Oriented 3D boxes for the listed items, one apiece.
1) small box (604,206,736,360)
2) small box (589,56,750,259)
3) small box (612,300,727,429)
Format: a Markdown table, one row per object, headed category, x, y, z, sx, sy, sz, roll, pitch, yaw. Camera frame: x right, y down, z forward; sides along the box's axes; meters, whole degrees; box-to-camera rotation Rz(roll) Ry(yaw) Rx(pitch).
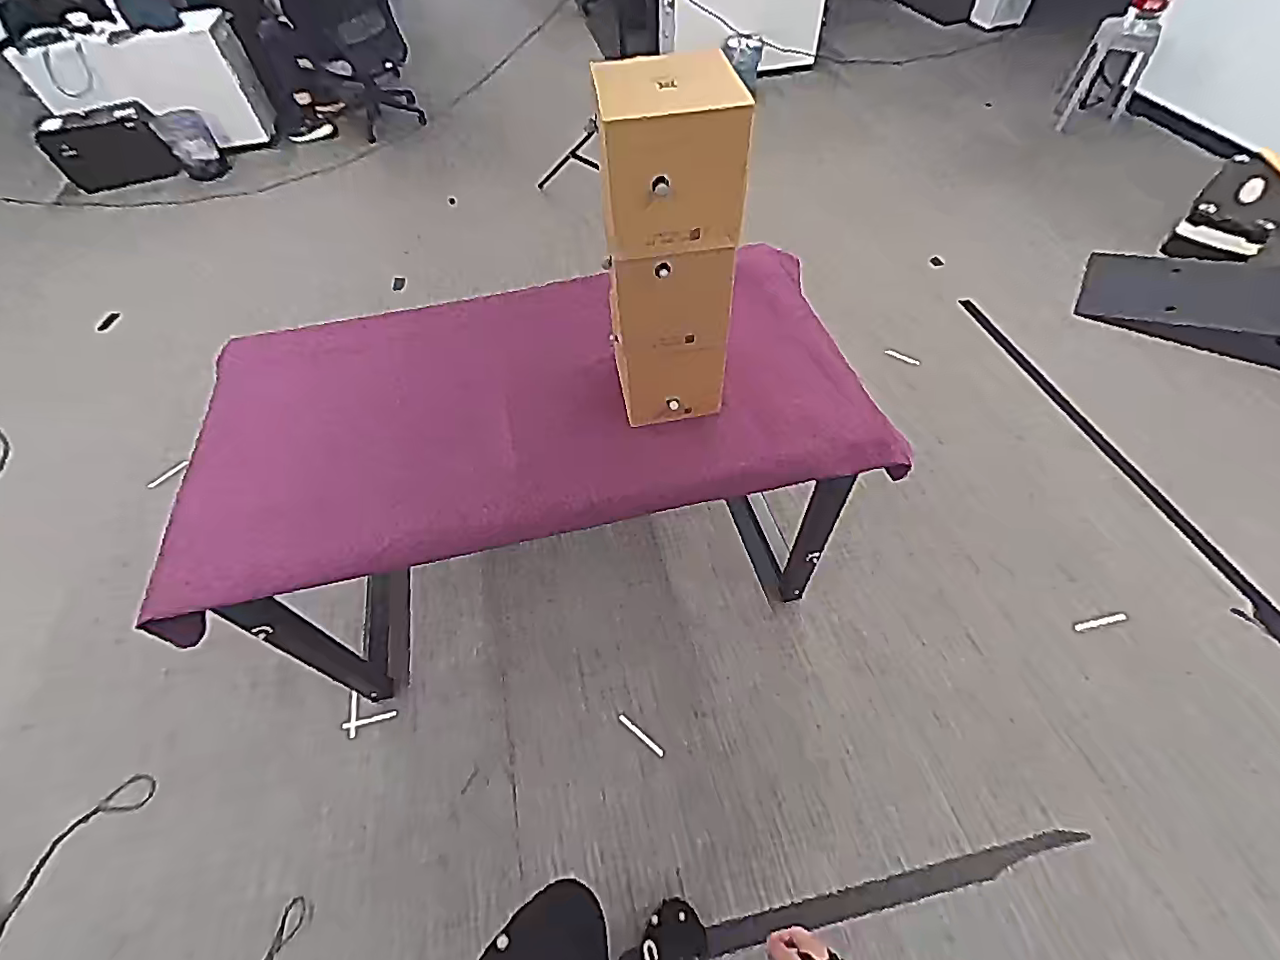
| category | x | y | z | sx | sy | sz | roll | pitch | yaw |
| --- | --- | --- | --- | --- | --- | --- | --- | --- | --- |
| small box | 0.040 | -0.308 | 0.821 | 0.168 | 0.176 | 0.179 | -9 | 53 | -2 |
| small box | 0.033 | -0.399 | 0.686 | 0.168 | 0.176 | 0.179 | -9 | 54 | -2 |
| small box | 0.046 | -0.216 | 0.956 | 0.168 | 0.176 | 0.179 | -10 | 54 | -3 |
